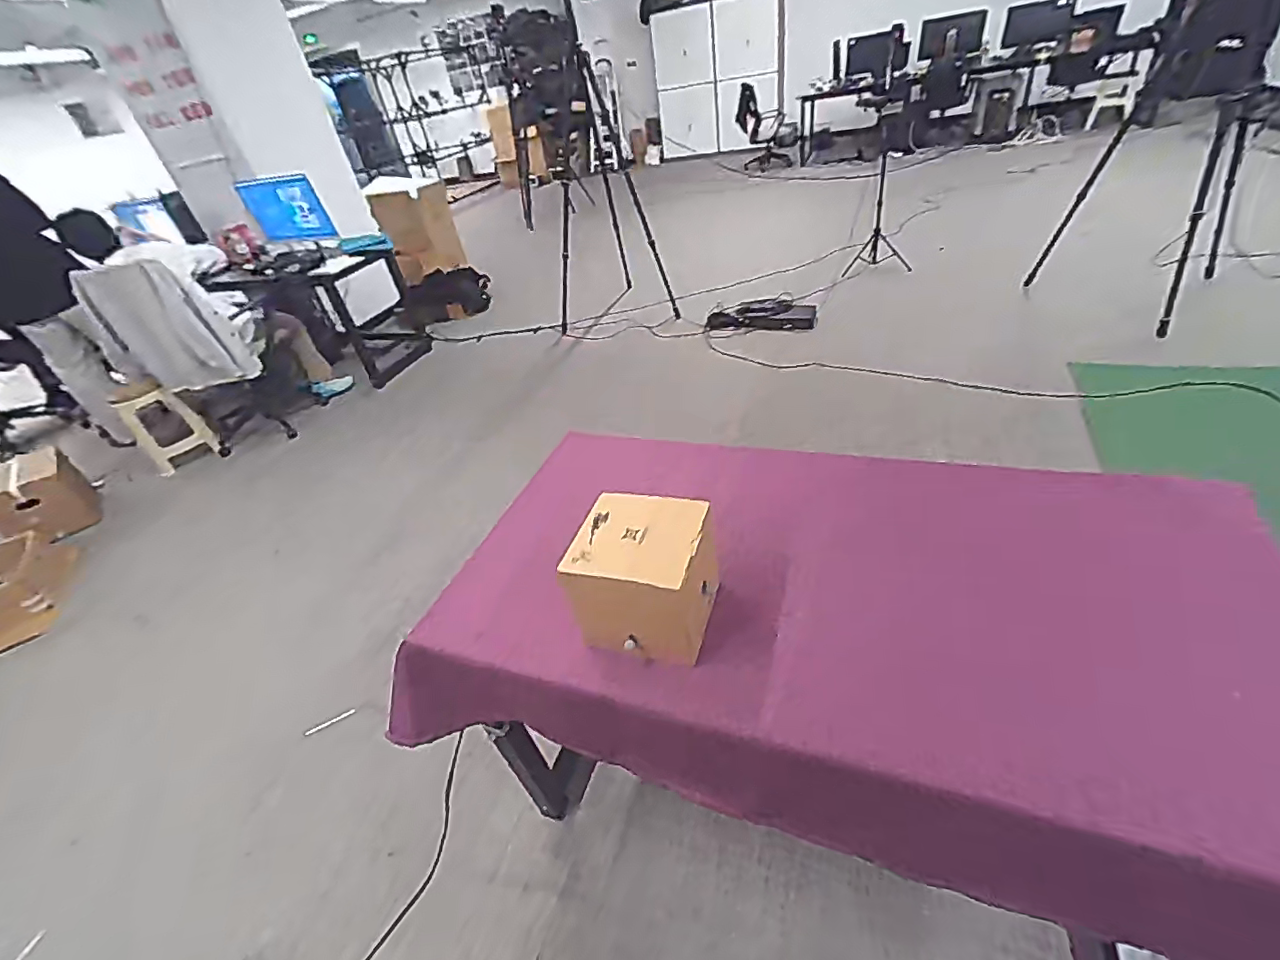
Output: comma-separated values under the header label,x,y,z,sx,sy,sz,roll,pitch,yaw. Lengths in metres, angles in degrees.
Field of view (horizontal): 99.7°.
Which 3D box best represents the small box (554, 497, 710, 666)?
label,x,y,z,sx,sy,sz,roll,pitch,yaw
small box,0.002,0.149,0.797,0.179,0.176,0.168,6,40,20
